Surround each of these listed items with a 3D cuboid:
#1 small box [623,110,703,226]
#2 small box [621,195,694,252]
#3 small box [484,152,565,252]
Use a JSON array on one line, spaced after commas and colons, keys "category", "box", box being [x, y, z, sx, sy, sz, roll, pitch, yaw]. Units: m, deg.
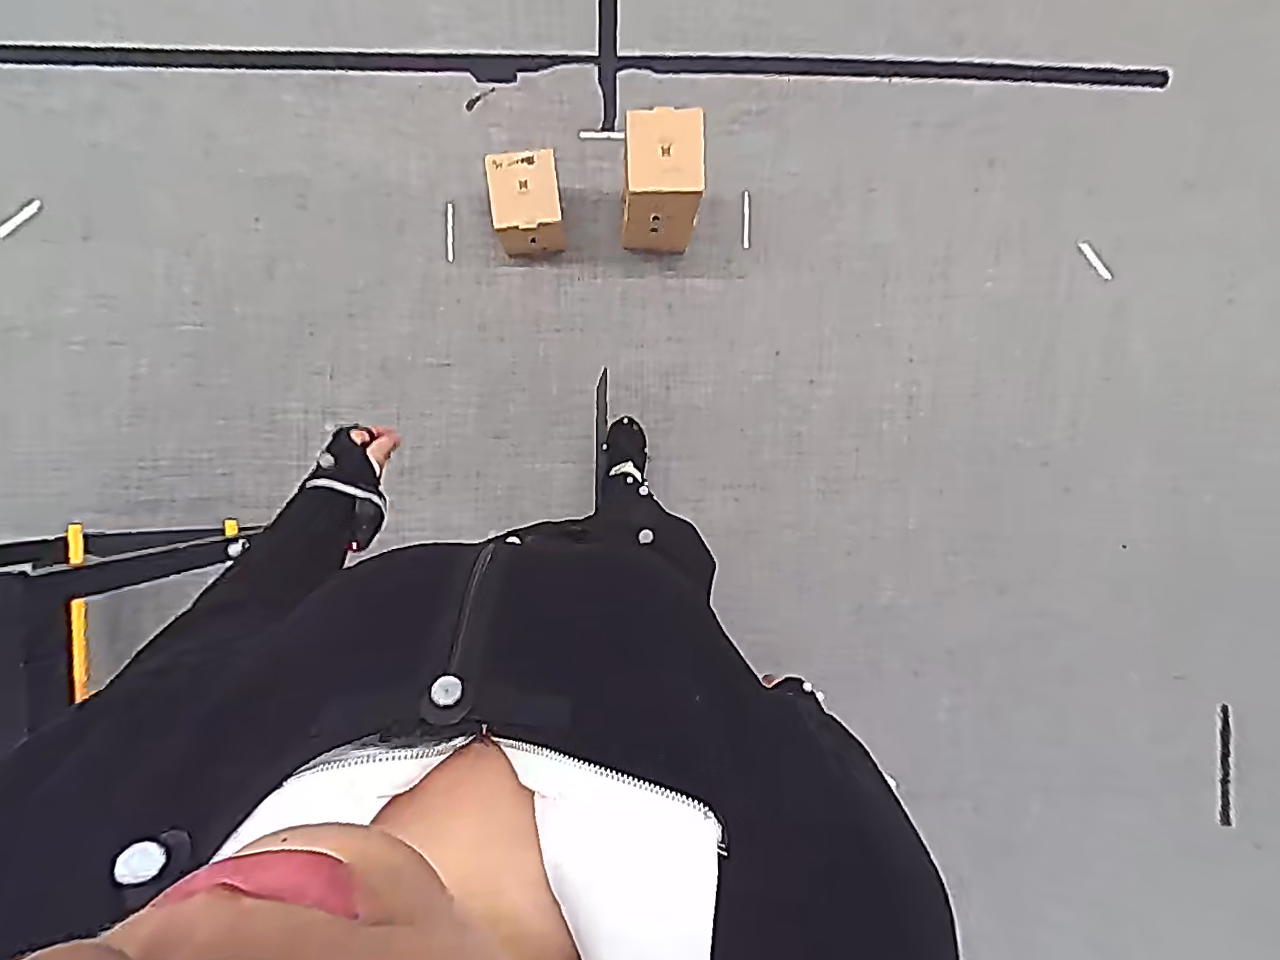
[{"category": "small box", "box": [0.047, -0.701, 1.229, 0.168, 0.176, 0.179, -2, 93, -2]}, {"category": "small box", "box": [0.043, -0.705, 1.391, 0.179, 0.176, 0.168, 2, 92, -5]}, {"category": "small box", "box": [-0.286, -0.693, 1.370, 0.168, 0.176, 0.179, -7, 92, -3]}]
